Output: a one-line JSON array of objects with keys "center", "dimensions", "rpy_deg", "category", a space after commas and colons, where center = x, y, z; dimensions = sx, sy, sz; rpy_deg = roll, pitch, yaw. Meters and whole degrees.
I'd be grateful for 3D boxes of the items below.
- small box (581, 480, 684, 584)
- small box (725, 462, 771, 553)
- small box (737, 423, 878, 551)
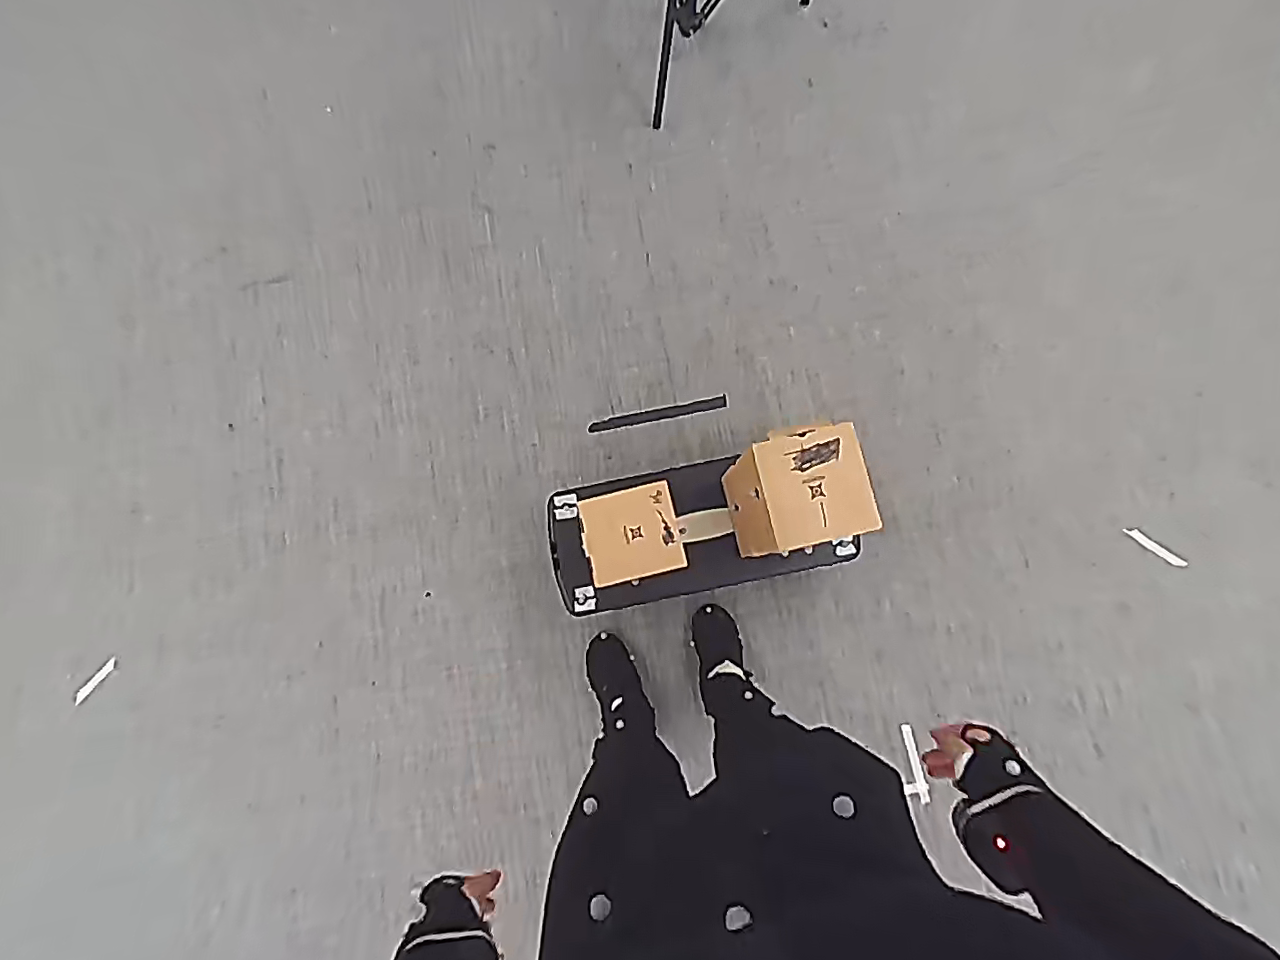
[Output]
[{"center": [-0.015, 0.108, 1.084], "dimensions": [0.179, 0.176, 0.168], "rpy_deg": [-14, 82, 0], "category": "small box"}, {"center": [0.269, 0.048, 1.085], "dimensions": [0.168, 0.176, 0.179], "rpy_deg": [-13, 82, 0], "category": "small box"}, {"center": [0.272, 0.020, 0.923], "dimensions": [0.168, 0.176, 0.179], "rpy_deg": [-13, 83, 0], "category": "small box"}]
